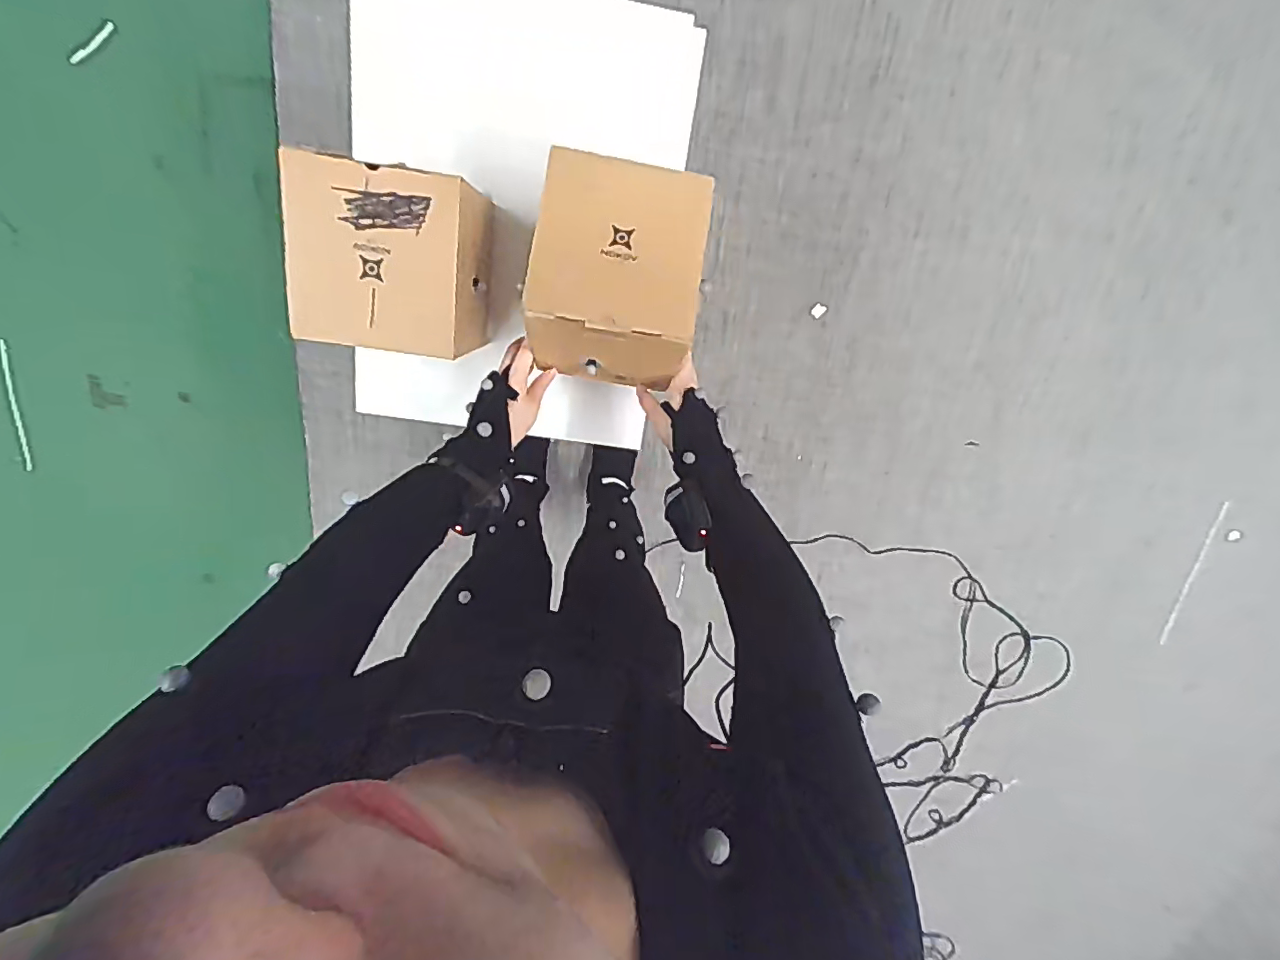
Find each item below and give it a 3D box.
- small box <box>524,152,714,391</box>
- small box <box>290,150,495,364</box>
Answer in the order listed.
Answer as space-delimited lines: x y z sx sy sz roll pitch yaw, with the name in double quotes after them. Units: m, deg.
-0.027 -0.215 0.604 0.168 0.176 0.179 9 84 -5 "small box"
-0.265 -0.240 0.611 0.168 0.176 0.179 8 109 -6 "small box"
